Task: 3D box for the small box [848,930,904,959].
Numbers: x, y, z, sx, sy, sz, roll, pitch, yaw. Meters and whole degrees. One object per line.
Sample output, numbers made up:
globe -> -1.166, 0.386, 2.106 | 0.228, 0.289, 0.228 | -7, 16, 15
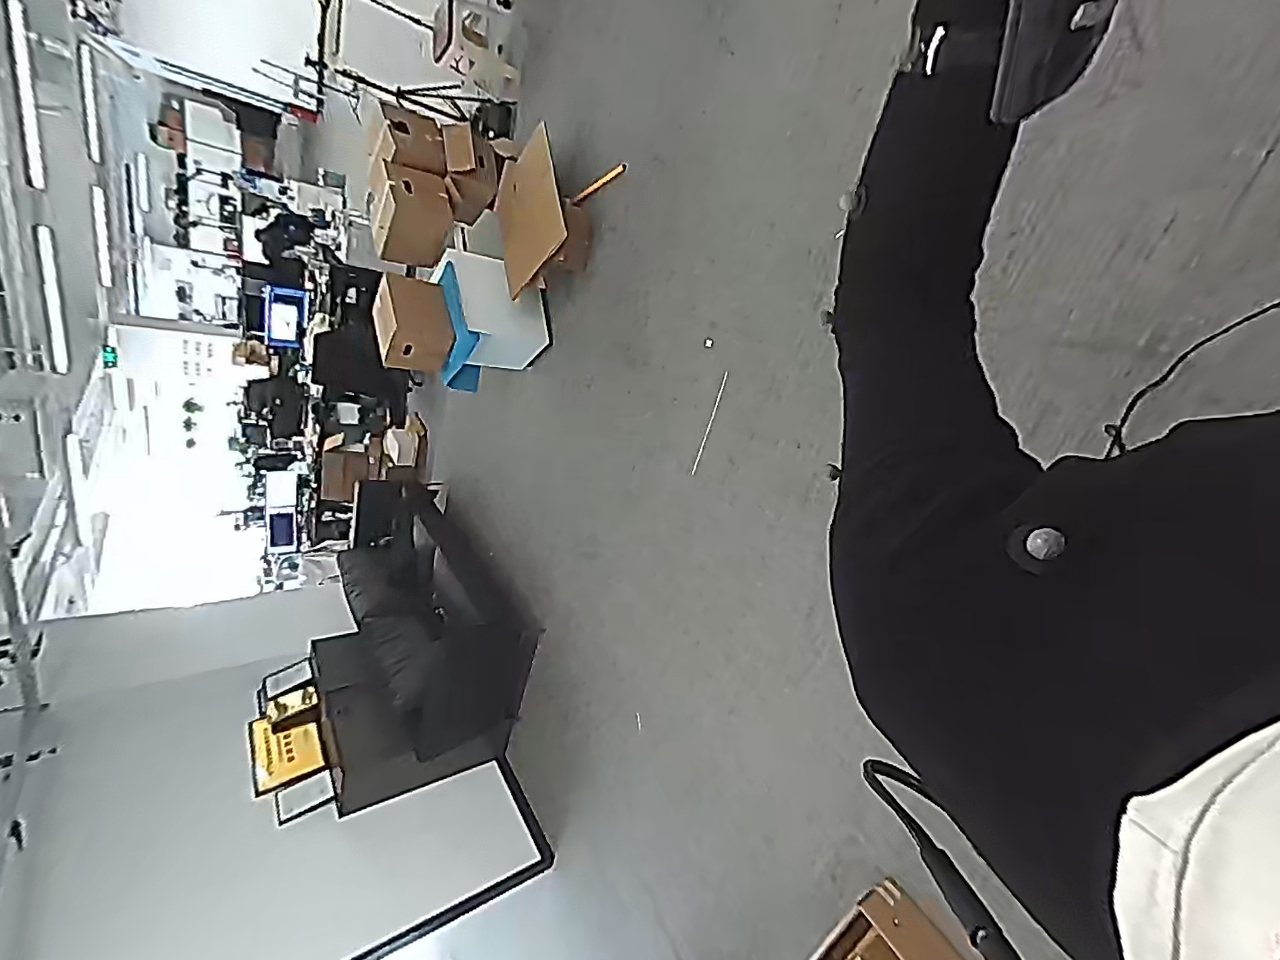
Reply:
small box -> 0.713, 1.521, 1.630 | 0.168, 0.176, 0.179 | 43, 123, 41
